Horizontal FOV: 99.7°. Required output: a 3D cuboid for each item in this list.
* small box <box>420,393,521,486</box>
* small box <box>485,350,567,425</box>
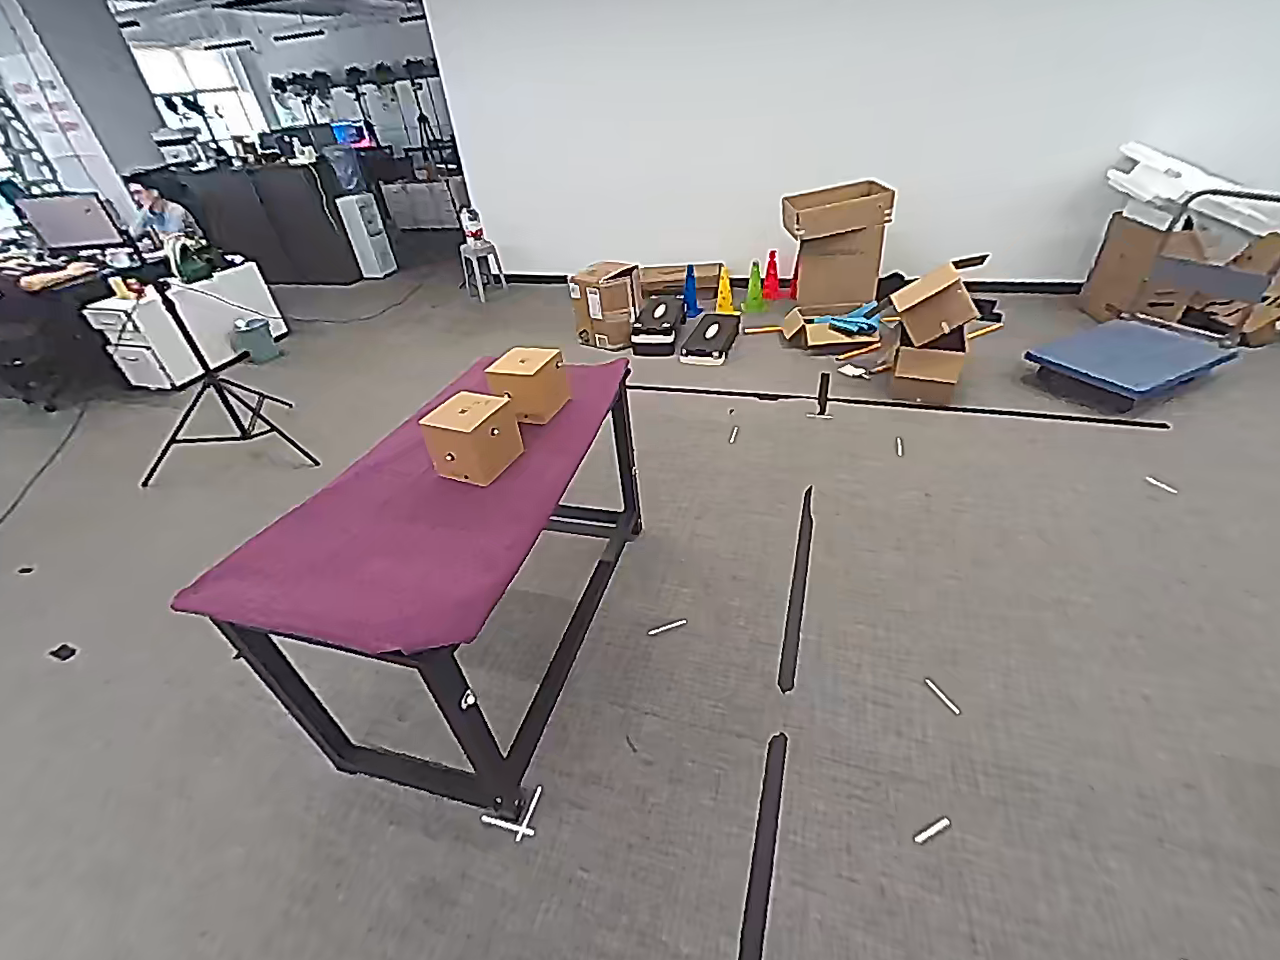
[{"bbox_3d":[-0.435,-0.107,1.421,0.168,0.176,0.179,12,40,22],"label":"small box"},{"bbox_3d":[-0.336,-0.281,1.644,0.168,0.176,0.179,8,38,20],"label":"small box"}]
